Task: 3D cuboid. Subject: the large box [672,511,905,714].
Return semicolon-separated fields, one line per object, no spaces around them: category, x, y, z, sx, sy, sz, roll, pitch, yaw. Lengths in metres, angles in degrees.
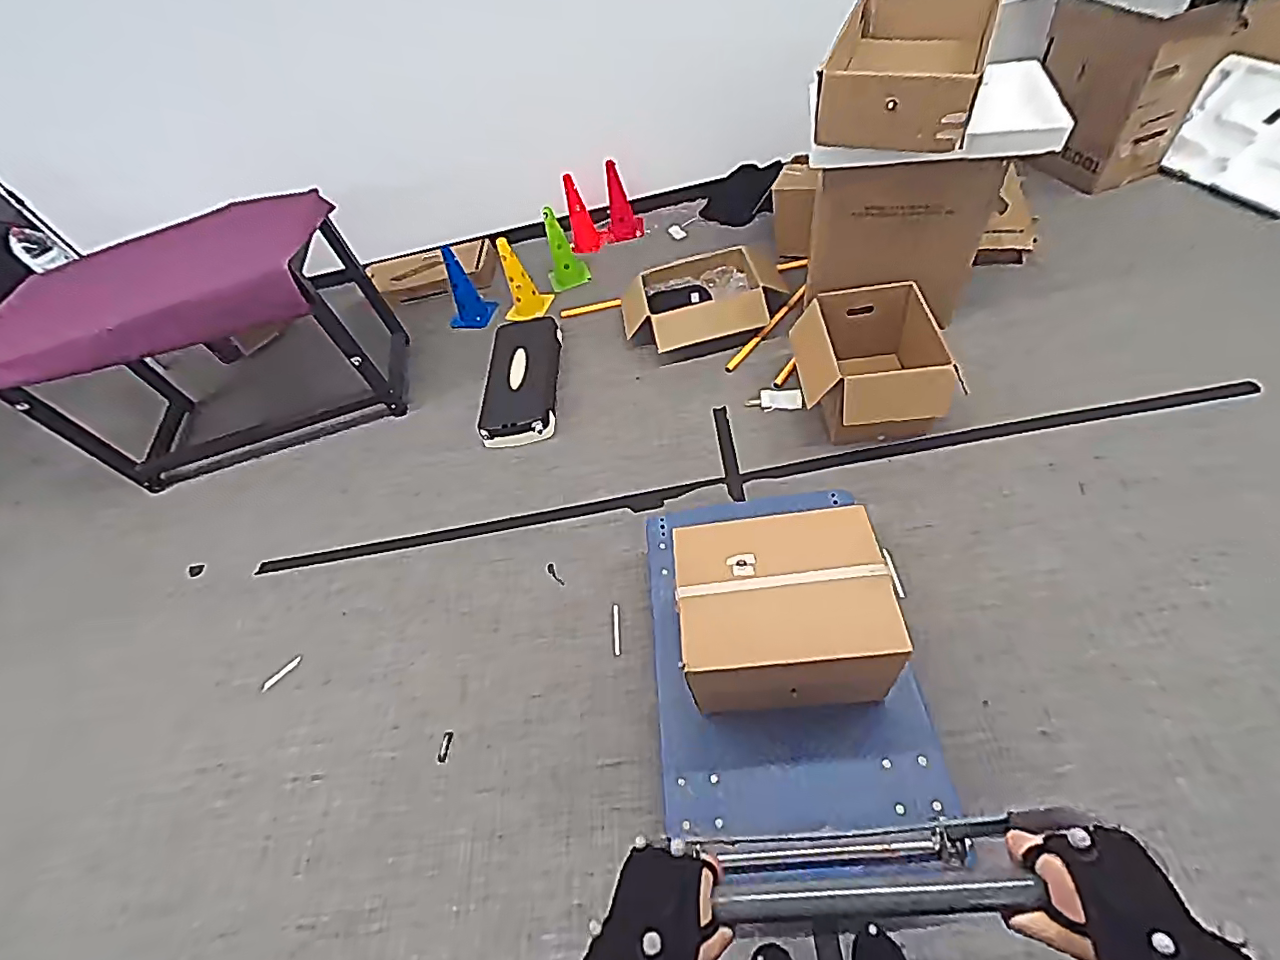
large box;0.301;0.303;1.187;0.408;0.320;0.320;-9;51;8
